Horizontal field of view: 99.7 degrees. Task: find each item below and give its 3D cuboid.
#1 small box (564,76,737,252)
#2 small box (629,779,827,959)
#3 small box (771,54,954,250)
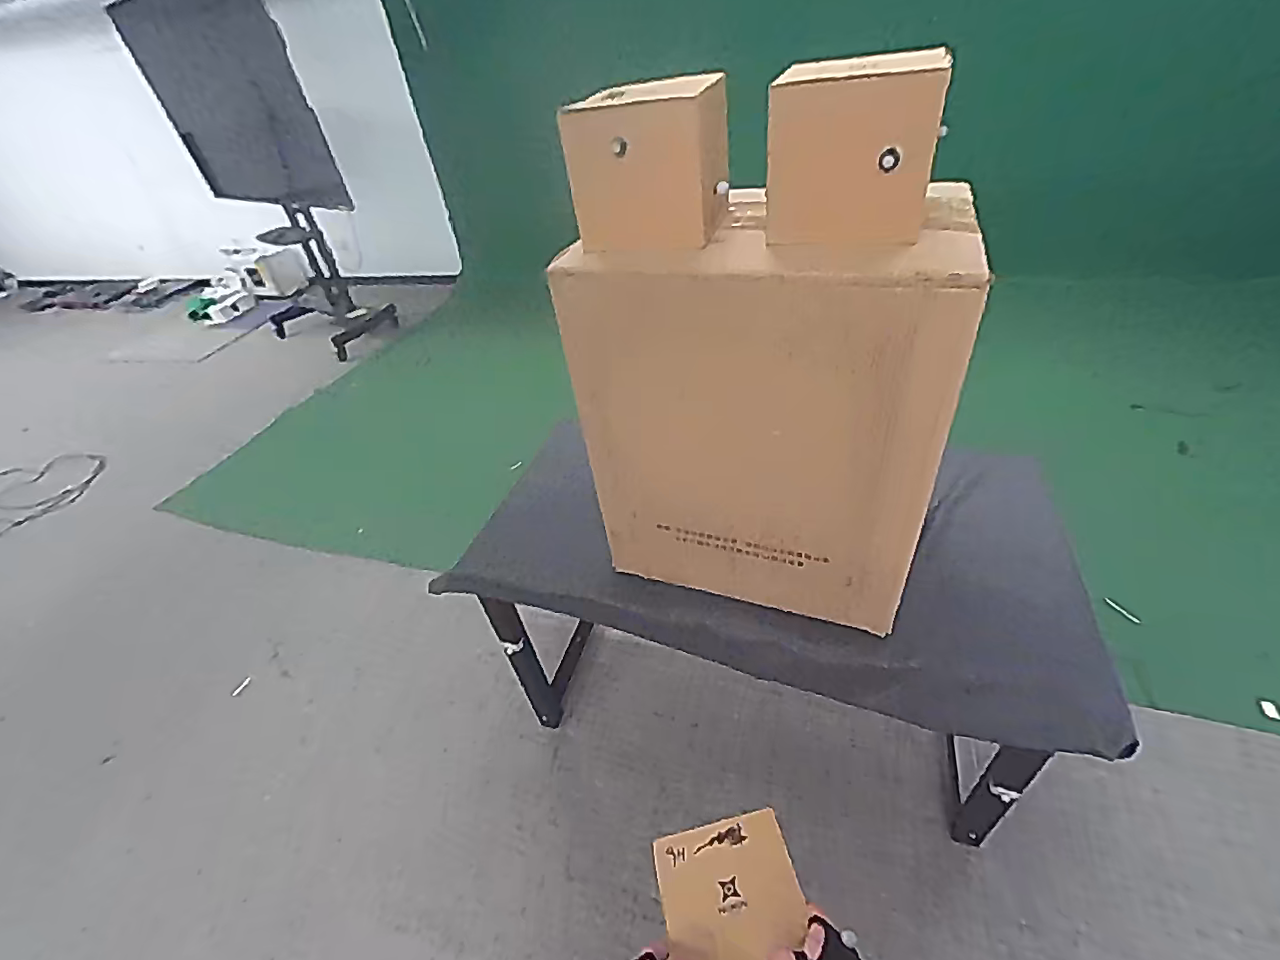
[{"bbox_3d":[0.026,-0.424,0.738,0.179,0.176,0.168,9,47,22],"label":"small box"},{"bbox_3d":[0.118,0.540,0.686,0.179,0.176,0.168,-31,31,-26],"label":"small box"},{"bbox_3d":[0.263,-0.392,0.657,0.179,0.176,0.168,9,43,21],"label":"small box"}]
